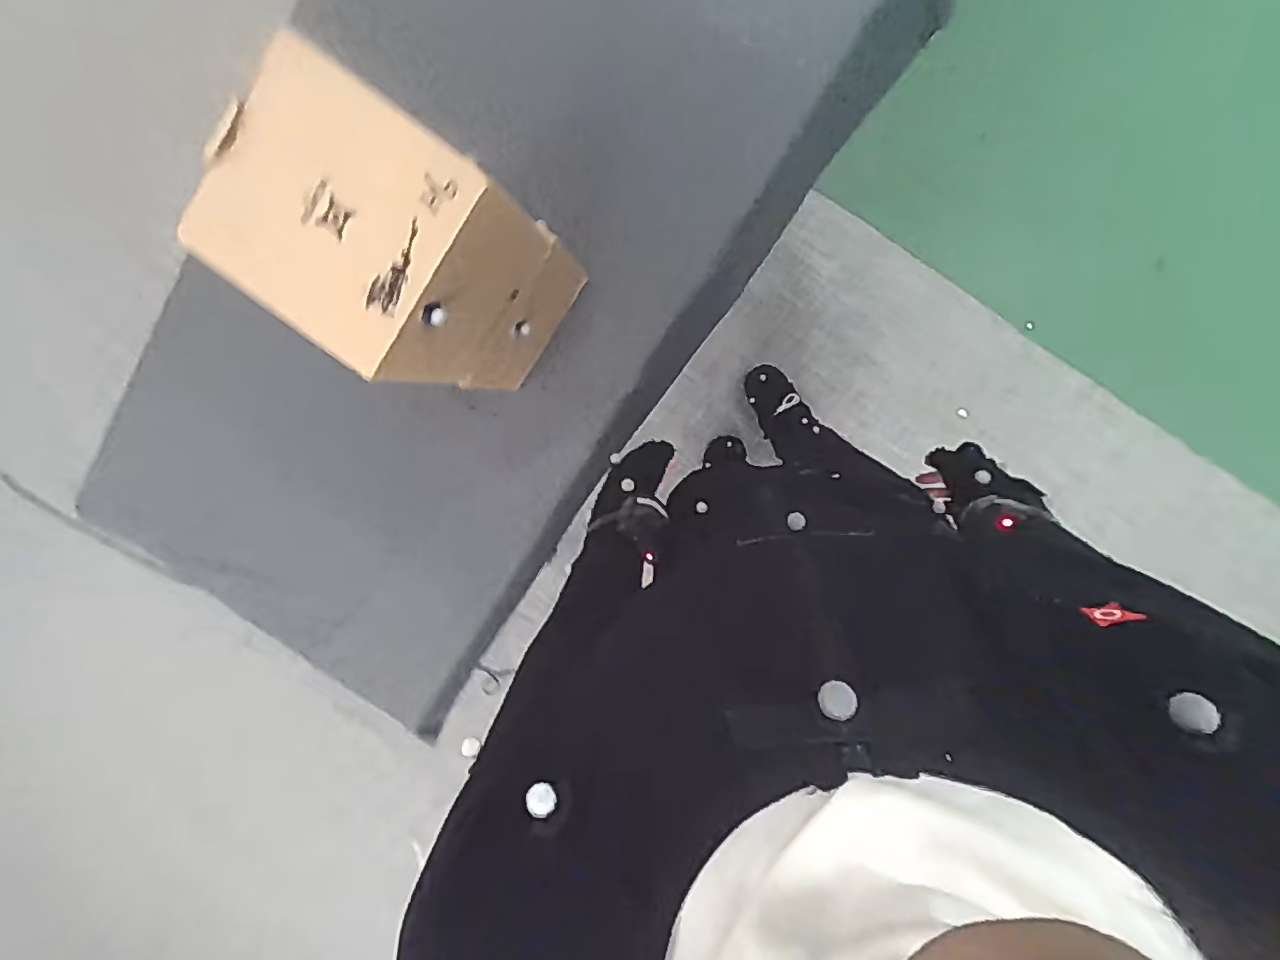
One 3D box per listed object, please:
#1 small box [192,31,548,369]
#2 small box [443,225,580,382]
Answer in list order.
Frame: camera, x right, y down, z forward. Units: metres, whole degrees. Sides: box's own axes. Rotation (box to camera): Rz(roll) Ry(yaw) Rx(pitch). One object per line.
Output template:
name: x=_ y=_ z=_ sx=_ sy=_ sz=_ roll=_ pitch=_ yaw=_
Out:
small box: x=-0.207 y=-0.208 z=0.463 sx=0.179 sy=0.176 sz=0.168 roll=34 pitch=99 yaw=0
small box: x=-0.188 y=-0.227 z=0.622 sx=0.168 sy=0.176 sz=0.179 roll=35 pitch=99 yaw=0
